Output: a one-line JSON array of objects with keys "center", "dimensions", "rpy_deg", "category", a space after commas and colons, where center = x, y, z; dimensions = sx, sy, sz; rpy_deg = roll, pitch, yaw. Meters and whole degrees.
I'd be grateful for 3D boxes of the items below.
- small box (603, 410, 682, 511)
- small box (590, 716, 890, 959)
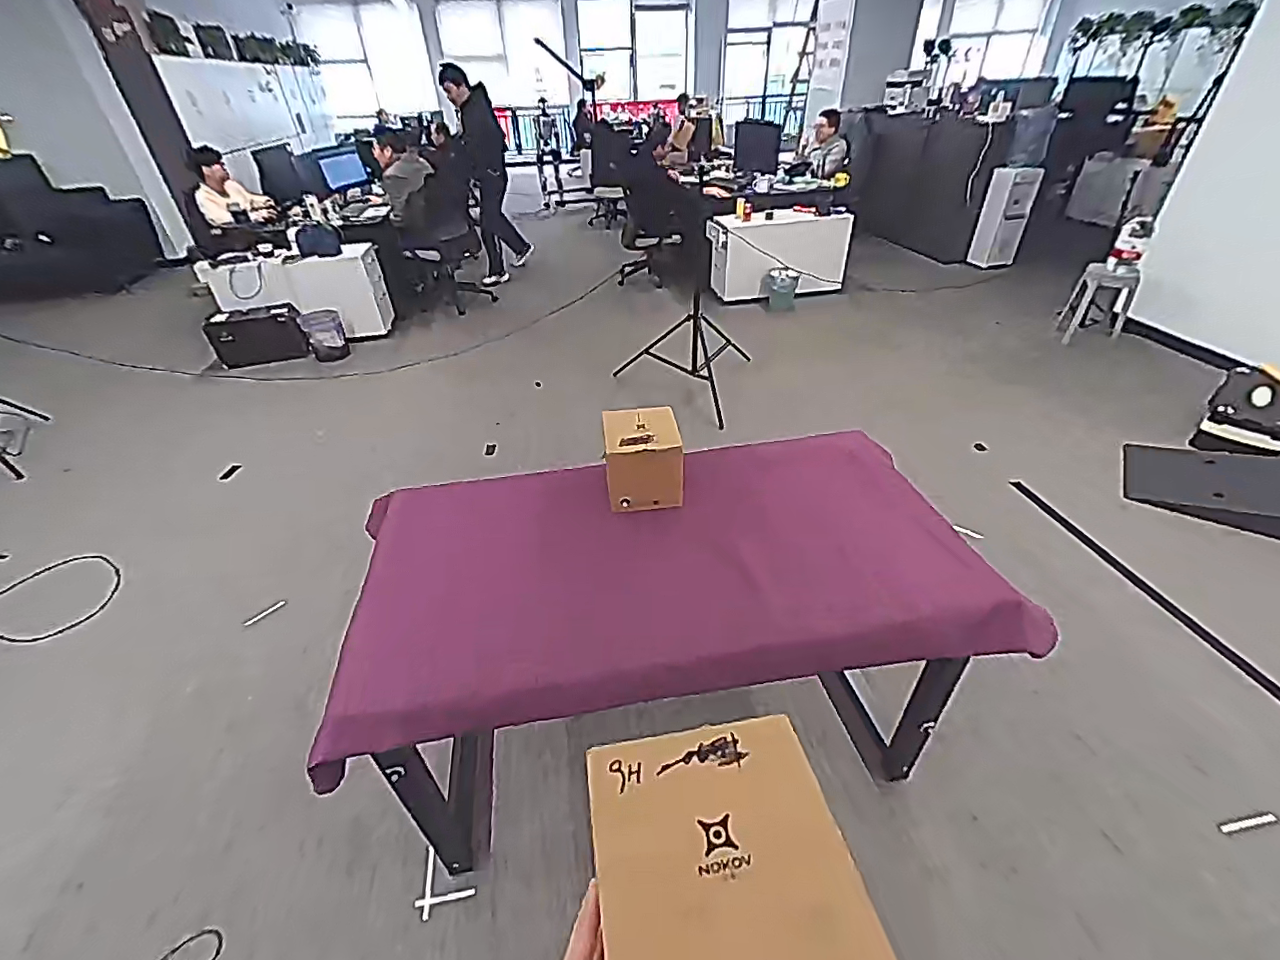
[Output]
[{"center": [0.005, -0.041, 1.251], "dimensions": [0.168, 0.176, 0.179], "rpy_deg": [-5, 37, -4], "category": "small box"}, {"center": [0.057, 0.315, 0.404], "dimensions": [0.168, 0.176, 0.179], "rpy_deg": [-7, 33, -7], "category": "small box"}]
